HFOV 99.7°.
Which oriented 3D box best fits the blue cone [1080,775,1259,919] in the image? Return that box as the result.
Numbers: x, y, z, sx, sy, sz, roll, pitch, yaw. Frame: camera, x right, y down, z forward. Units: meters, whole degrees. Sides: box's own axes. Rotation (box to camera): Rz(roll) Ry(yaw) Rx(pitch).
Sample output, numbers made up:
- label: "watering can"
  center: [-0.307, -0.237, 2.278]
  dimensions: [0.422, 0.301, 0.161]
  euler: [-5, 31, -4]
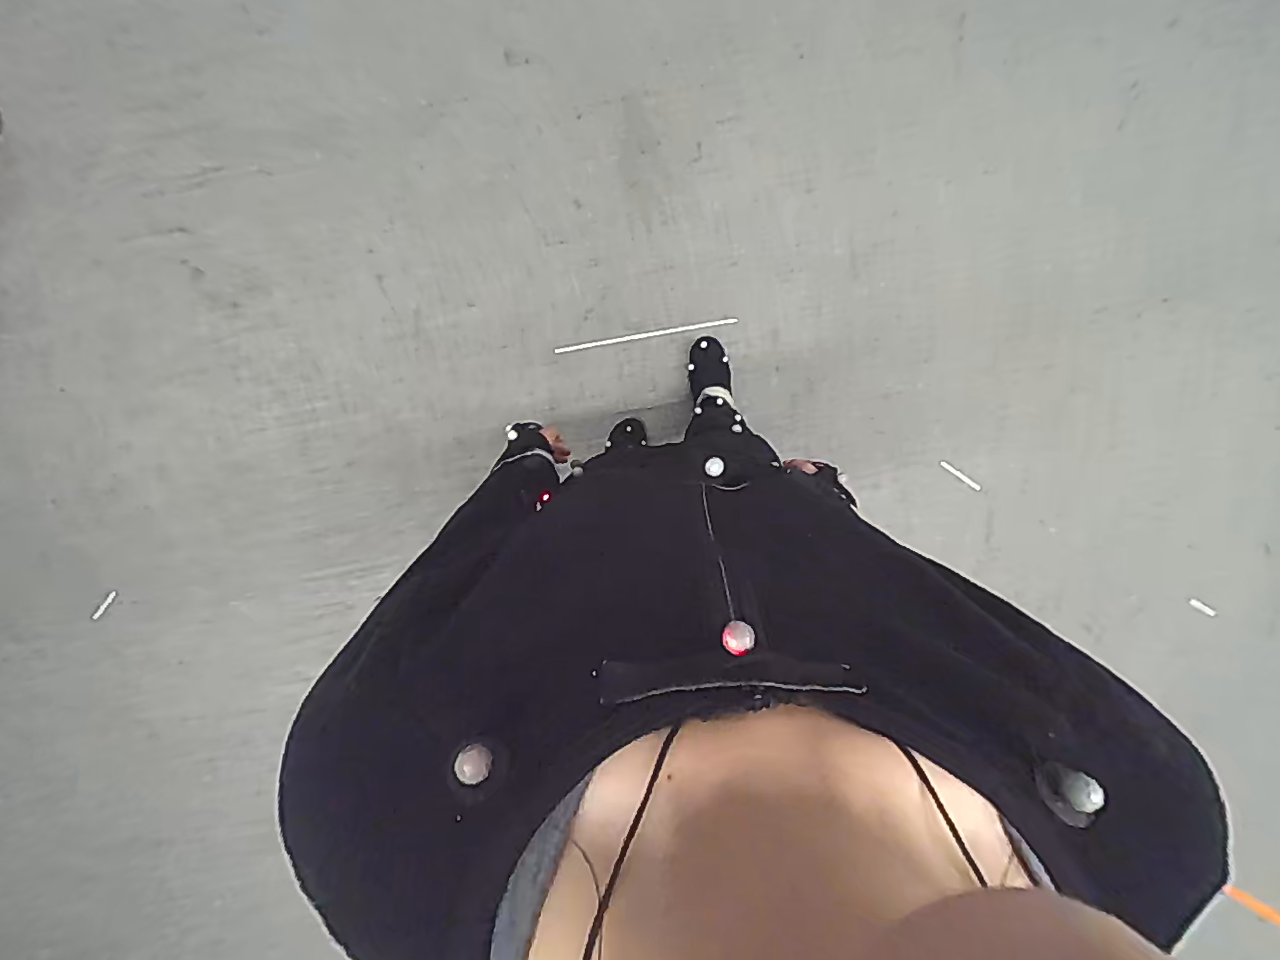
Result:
- label: "blue cone"
  center: [1.459, 1.021, 1.486]
  dimensions: [0.192, 0.380, 0.193]
  euler: [35, 93, -5]
